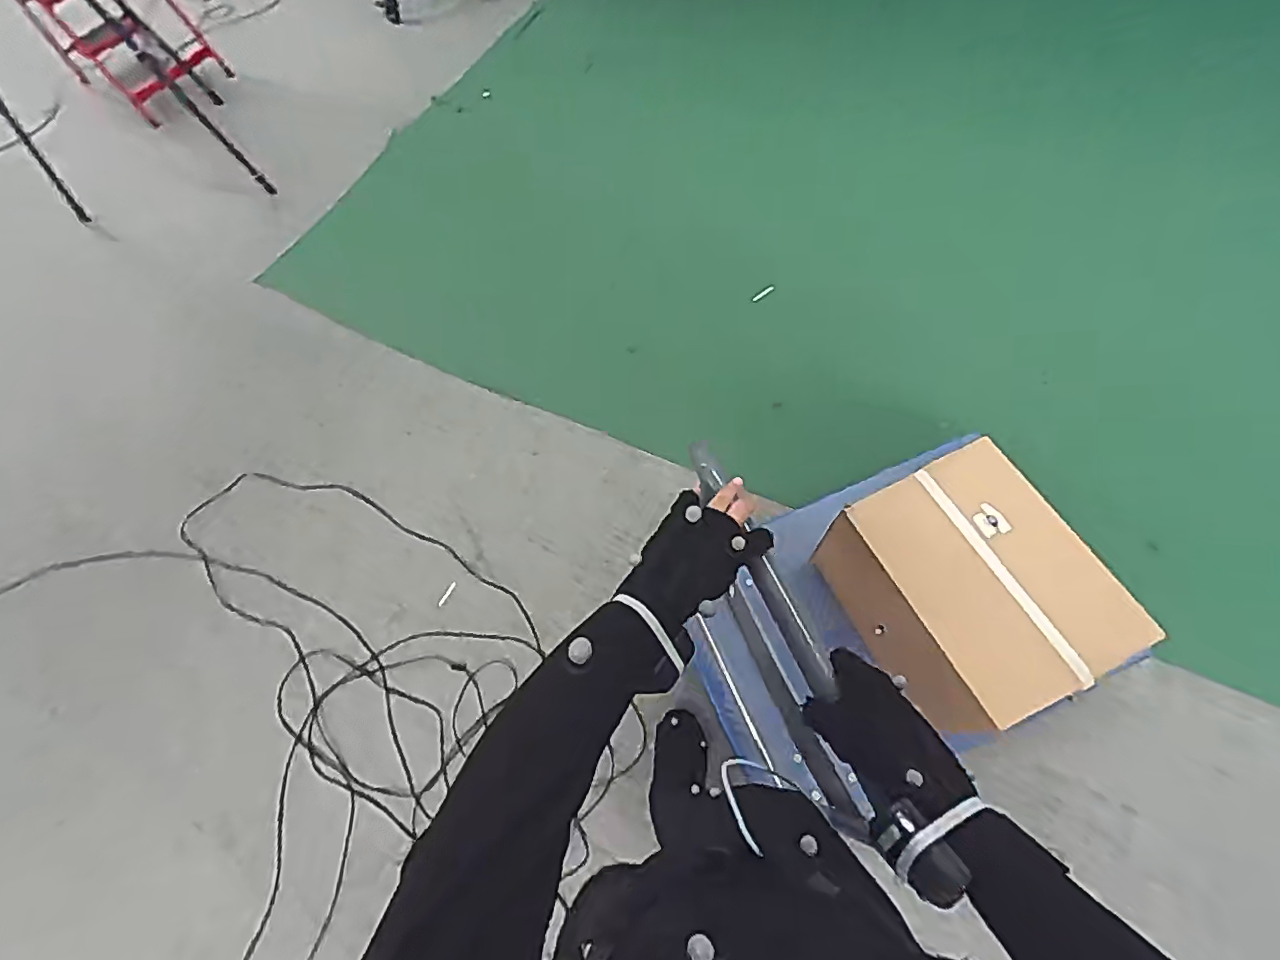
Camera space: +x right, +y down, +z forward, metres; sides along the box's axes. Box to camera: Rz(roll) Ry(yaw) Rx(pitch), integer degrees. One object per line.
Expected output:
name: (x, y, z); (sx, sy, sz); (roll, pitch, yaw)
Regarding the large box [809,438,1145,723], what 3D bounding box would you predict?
large box: (0.591, 0.204, 1.048); (0.320, 0.320, 0.408); (-25, 65, -7)
